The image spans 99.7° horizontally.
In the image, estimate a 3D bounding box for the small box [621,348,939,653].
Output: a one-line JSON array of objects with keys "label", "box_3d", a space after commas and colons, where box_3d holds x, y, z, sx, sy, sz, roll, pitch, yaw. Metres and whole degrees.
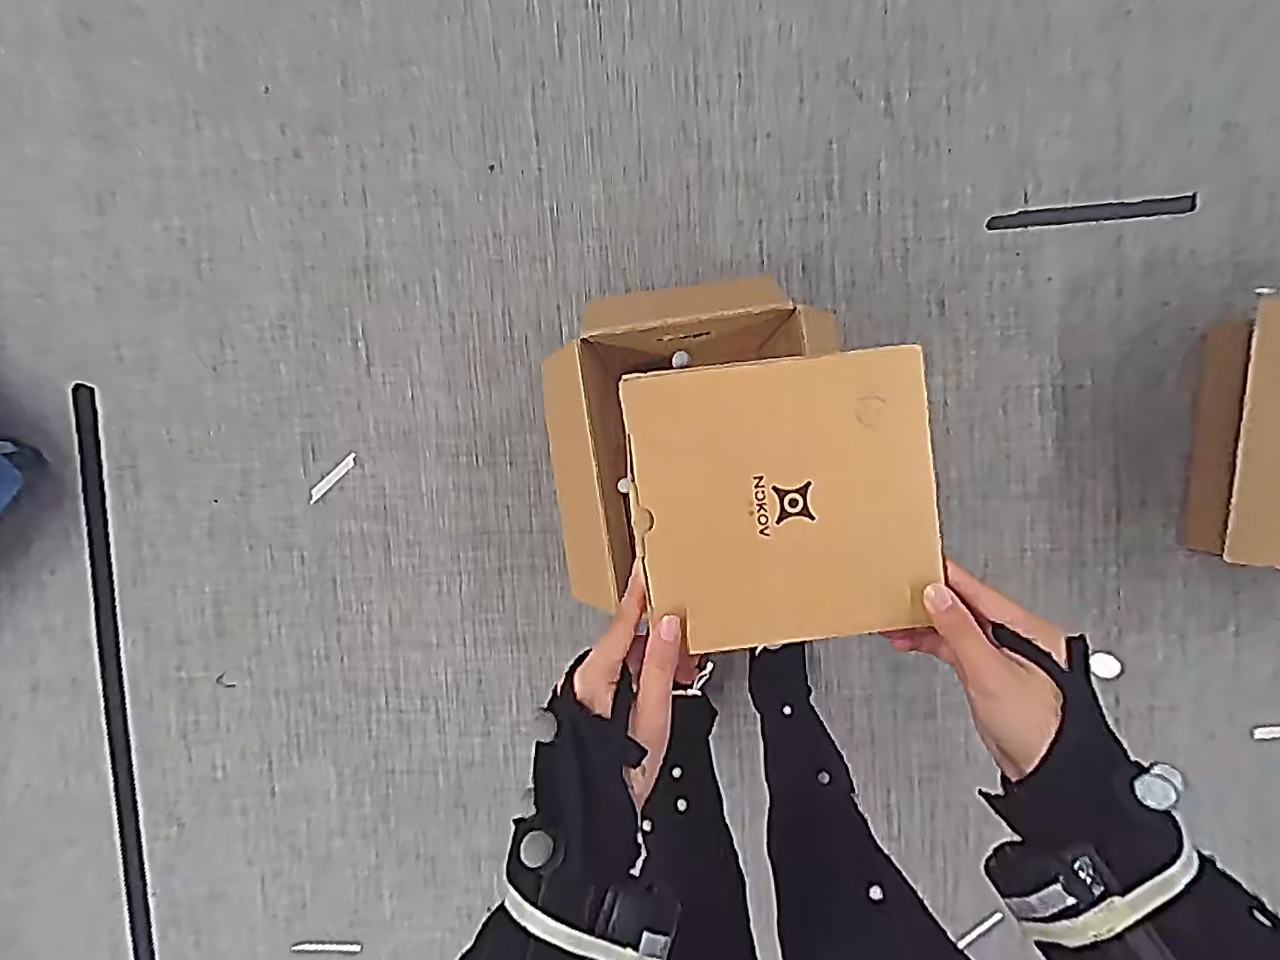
[{"label": "small box", "box_3d": [0.083, 0.007, 0.395, 0.179, 0.176, 0.168, -7, 93, 1]}]
